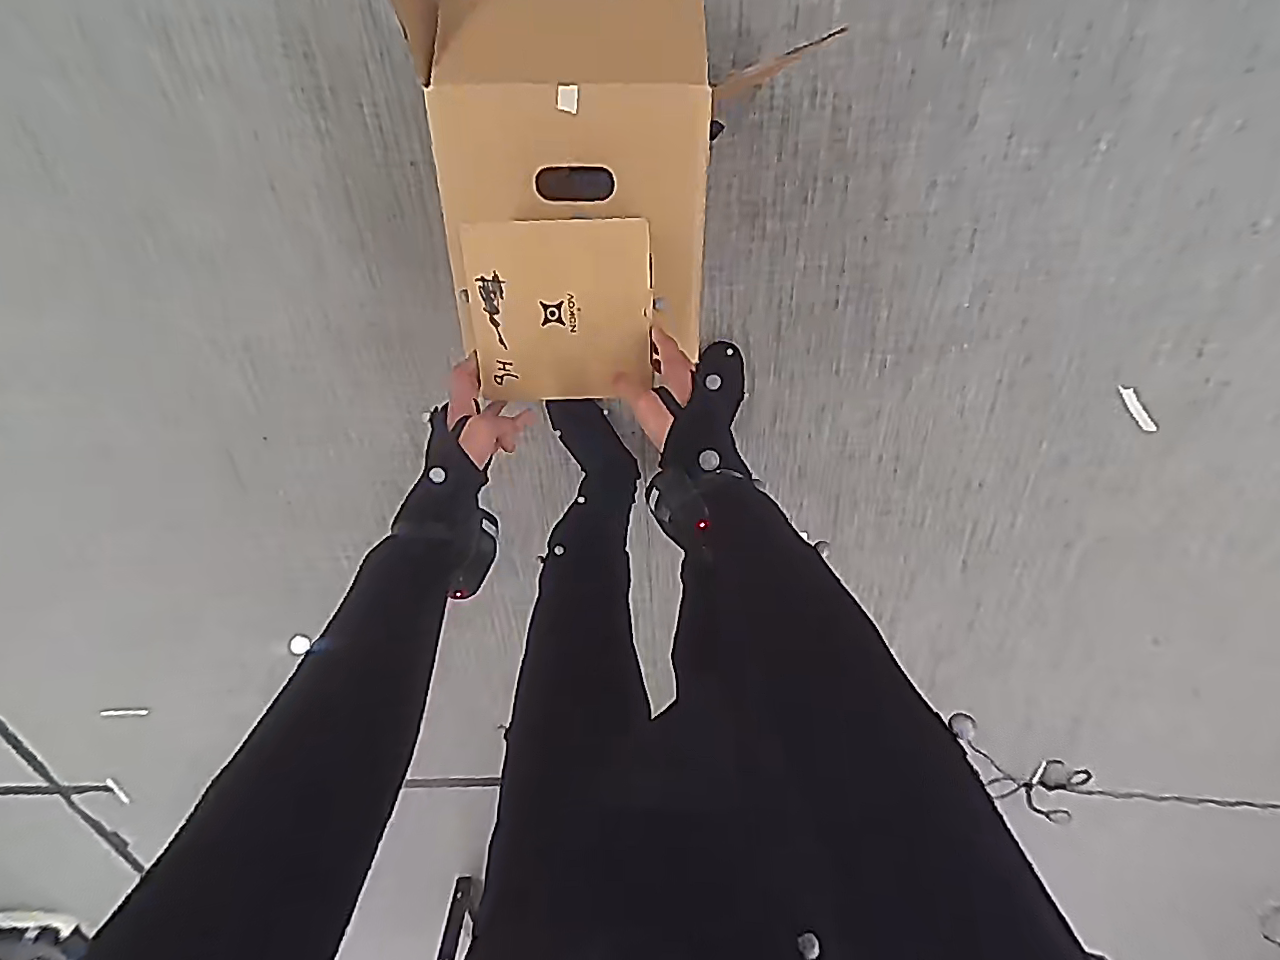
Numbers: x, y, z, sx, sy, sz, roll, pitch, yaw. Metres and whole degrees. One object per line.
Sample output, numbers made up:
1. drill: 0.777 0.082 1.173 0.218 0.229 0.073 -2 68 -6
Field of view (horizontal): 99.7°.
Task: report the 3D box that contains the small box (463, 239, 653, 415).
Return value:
1. small box: -0.076 -0.175 0.597 0.179 0.176 0.168 -1 113 0
